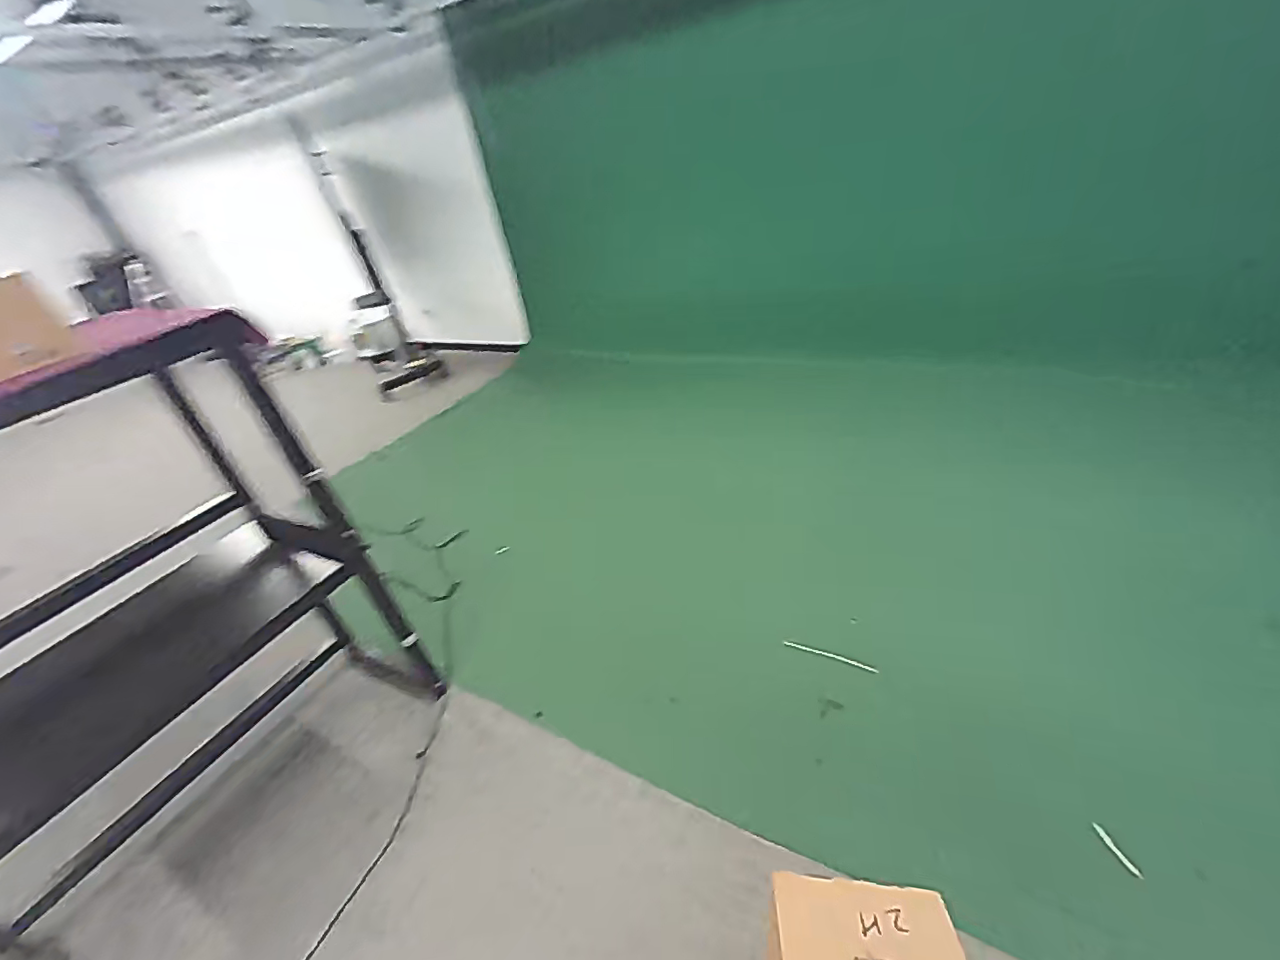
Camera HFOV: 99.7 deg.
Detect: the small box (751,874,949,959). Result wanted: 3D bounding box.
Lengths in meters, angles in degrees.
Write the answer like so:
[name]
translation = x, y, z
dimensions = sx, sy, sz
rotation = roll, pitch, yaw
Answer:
[small box]
translation = 0.189, 0.507, 0.482
dimensions = 0.168, 0.176, 0.179
rotation = 3, 15, 7
